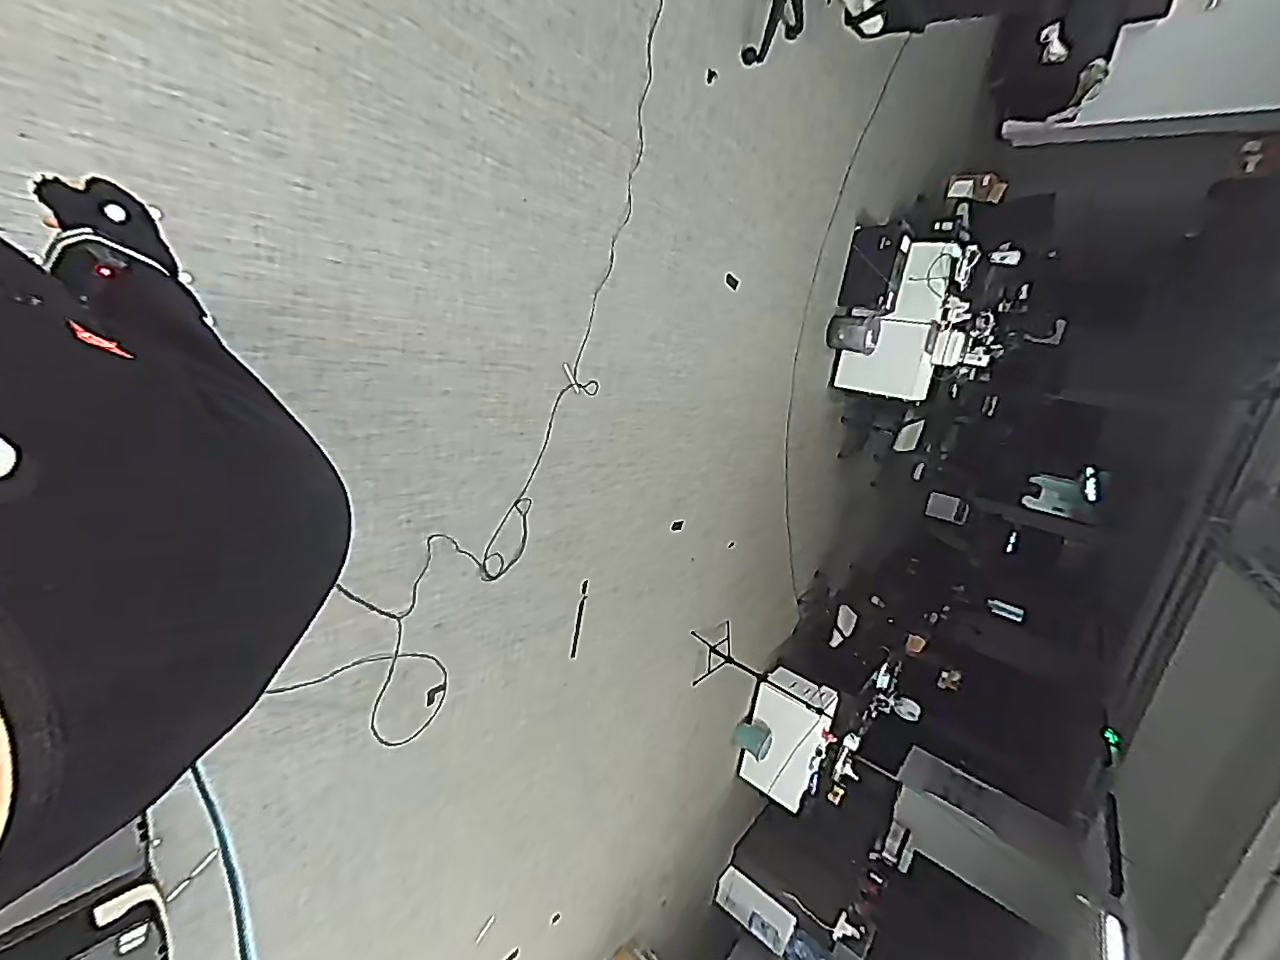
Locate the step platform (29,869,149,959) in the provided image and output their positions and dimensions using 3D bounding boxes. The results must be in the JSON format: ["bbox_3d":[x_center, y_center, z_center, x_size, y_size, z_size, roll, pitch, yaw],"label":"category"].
[{"bbox_3d":[-1.448,1.156,1.089,0.684,0.204,0.286,-11,115,-49],"label":"step platform"}]
